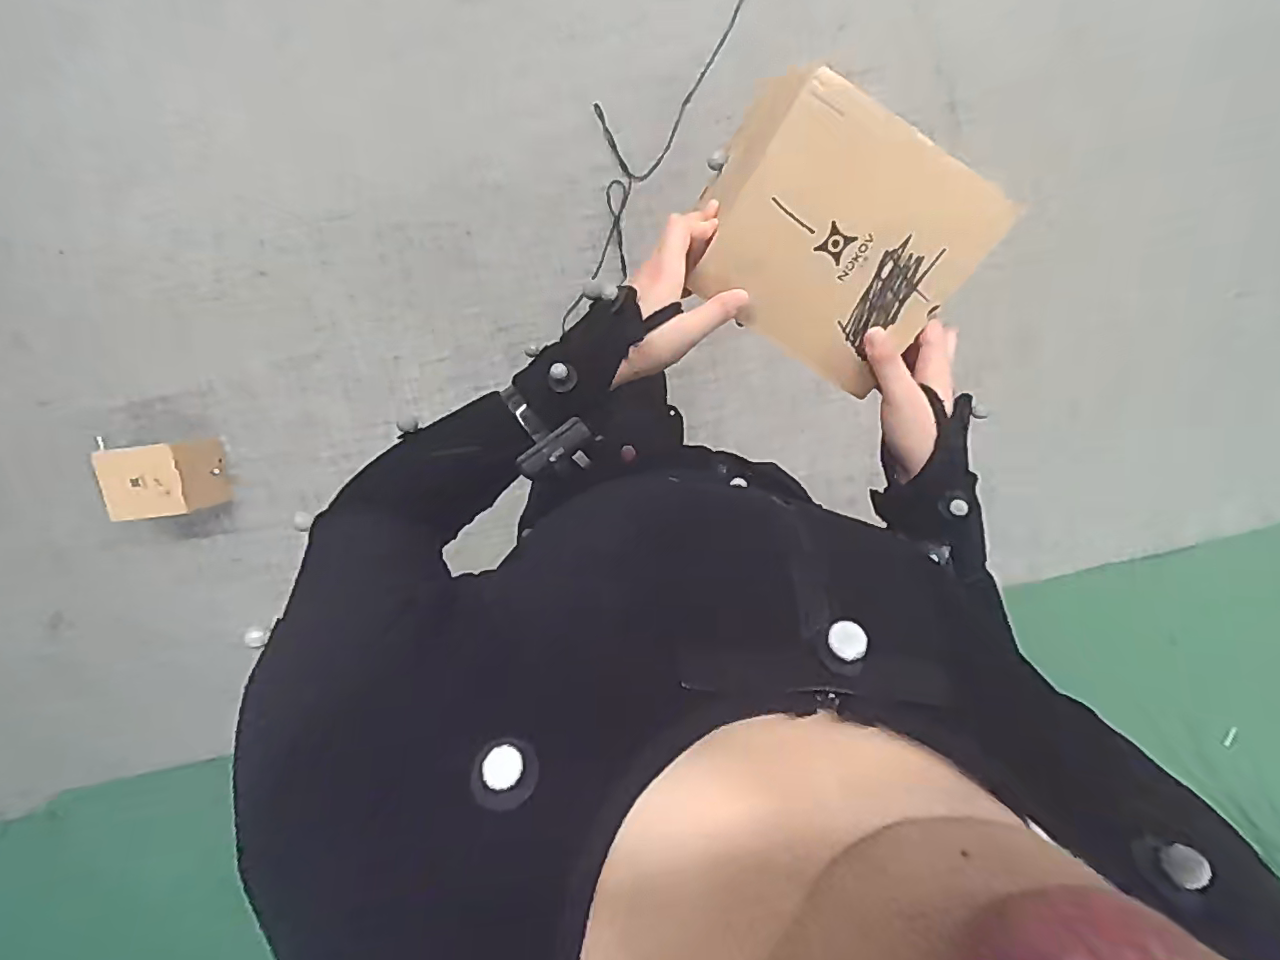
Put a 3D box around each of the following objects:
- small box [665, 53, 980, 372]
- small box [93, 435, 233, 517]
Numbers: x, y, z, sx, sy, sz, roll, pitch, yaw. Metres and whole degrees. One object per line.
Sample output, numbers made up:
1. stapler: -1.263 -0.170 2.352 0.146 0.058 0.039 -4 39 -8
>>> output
1. small box: 0.137 -0.229 0.478 0.179 0.176 0.168 25 118 -16
2. small box: -1.145 -0.015 1.311 0.179 0.176 0.168 -6 100 -3
